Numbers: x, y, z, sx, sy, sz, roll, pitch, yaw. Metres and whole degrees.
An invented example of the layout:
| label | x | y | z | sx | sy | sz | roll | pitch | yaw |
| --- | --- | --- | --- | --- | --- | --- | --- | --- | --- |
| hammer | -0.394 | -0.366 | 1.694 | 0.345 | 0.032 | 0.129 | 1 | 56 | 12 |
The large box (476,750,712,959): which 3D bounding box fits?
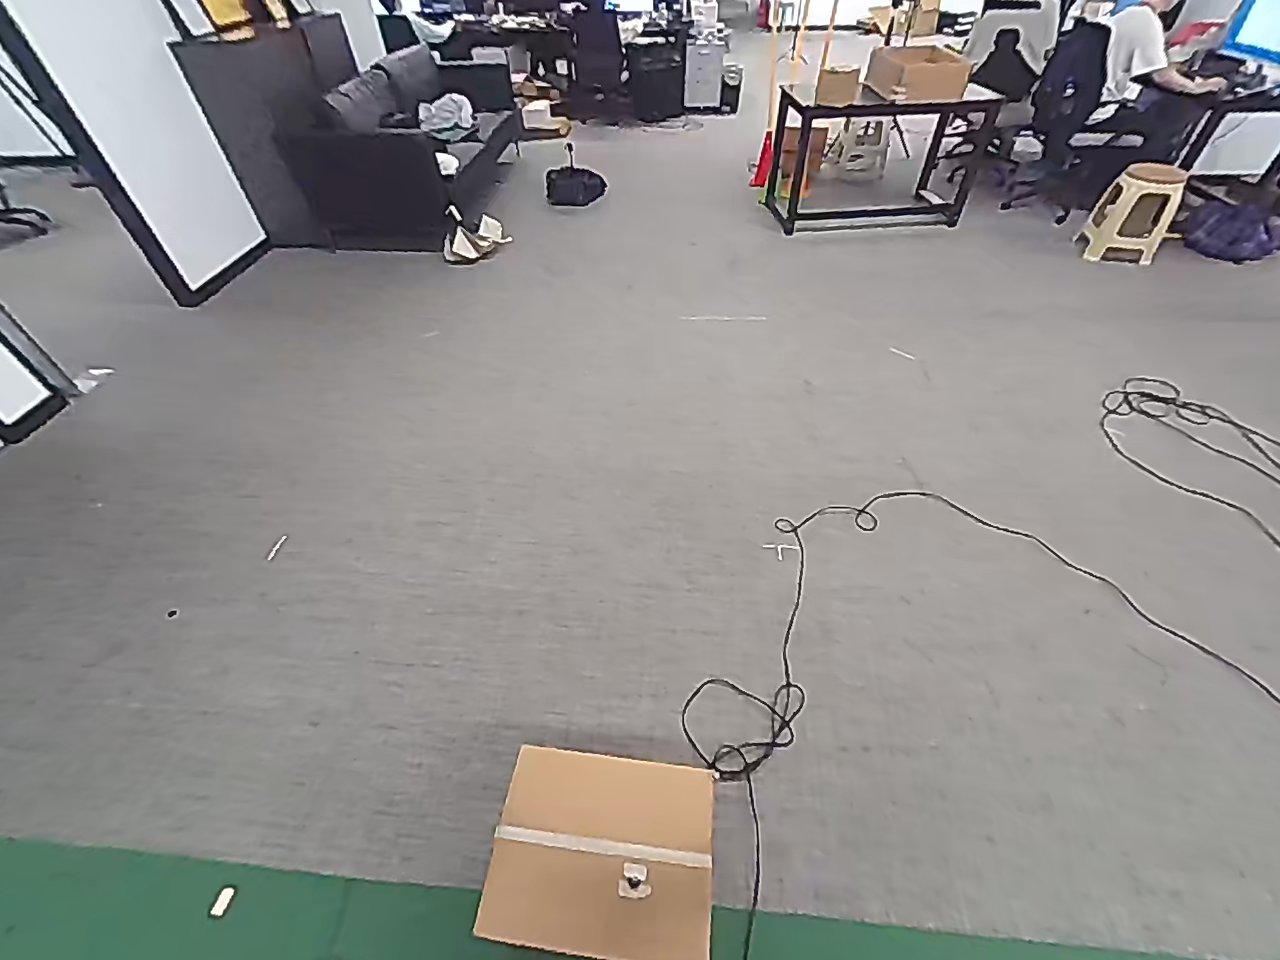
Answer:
| label | x | y | z | sx | sy | sz | roll | pitch | yaw |
| --- | --- | --- | --- | --- | --- | --- | --- | --- | --- |
| large box | -0.069 | 0.789 | 1.113 | 0.408 | 0.320 | 0.320 | 5 | 47 | 5 |
